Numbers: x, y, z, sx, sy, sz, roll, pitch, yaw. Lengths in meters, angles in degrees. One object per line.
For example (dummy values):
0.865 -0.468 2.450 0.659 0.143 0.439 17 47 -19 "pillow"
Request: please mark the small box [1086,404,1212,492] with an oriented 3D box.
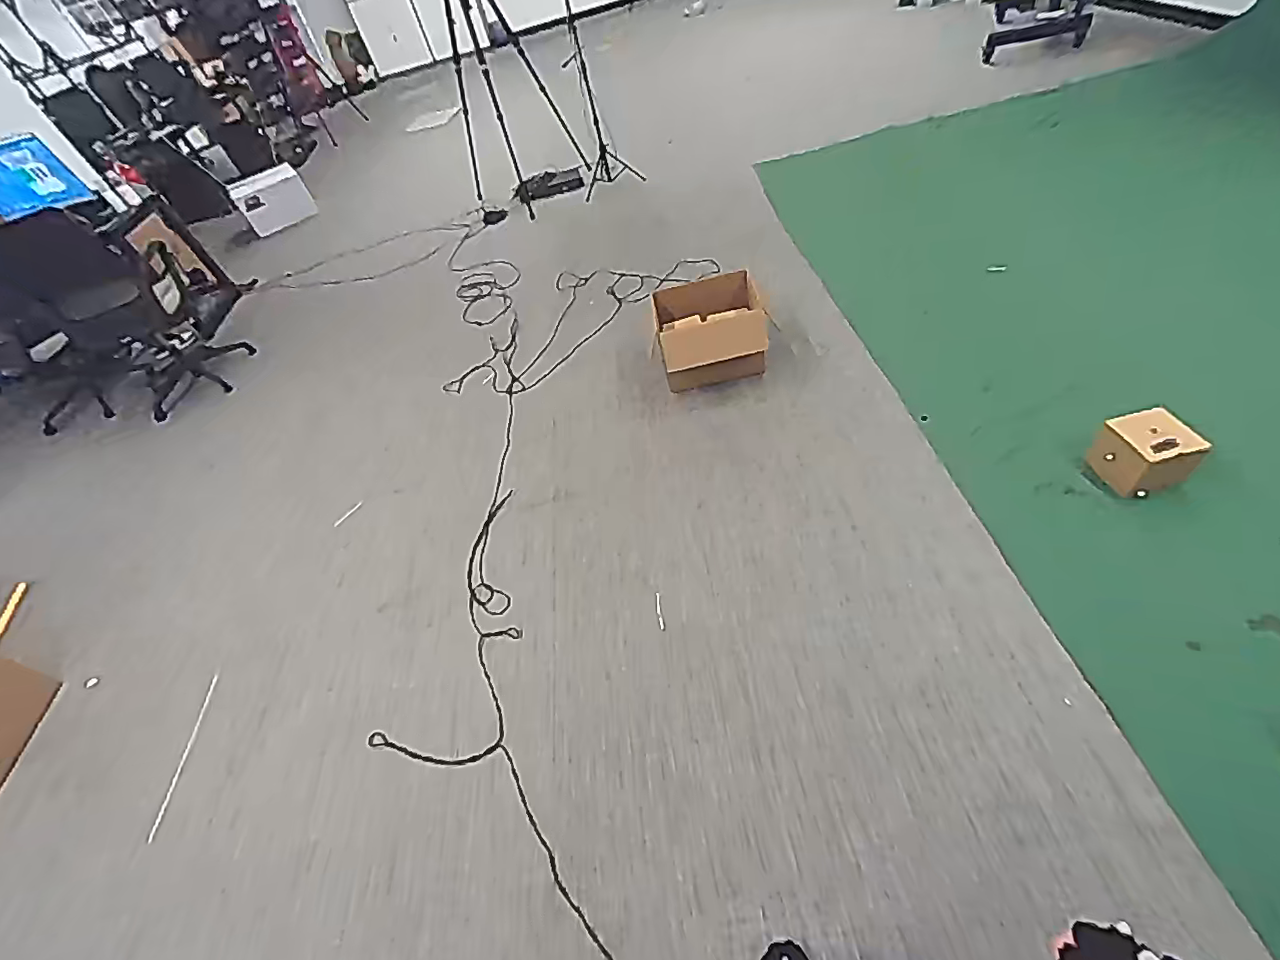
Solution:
1.449 -0.084 1.553 0.168 0.176 0.179 -14 47 3 "small box"
